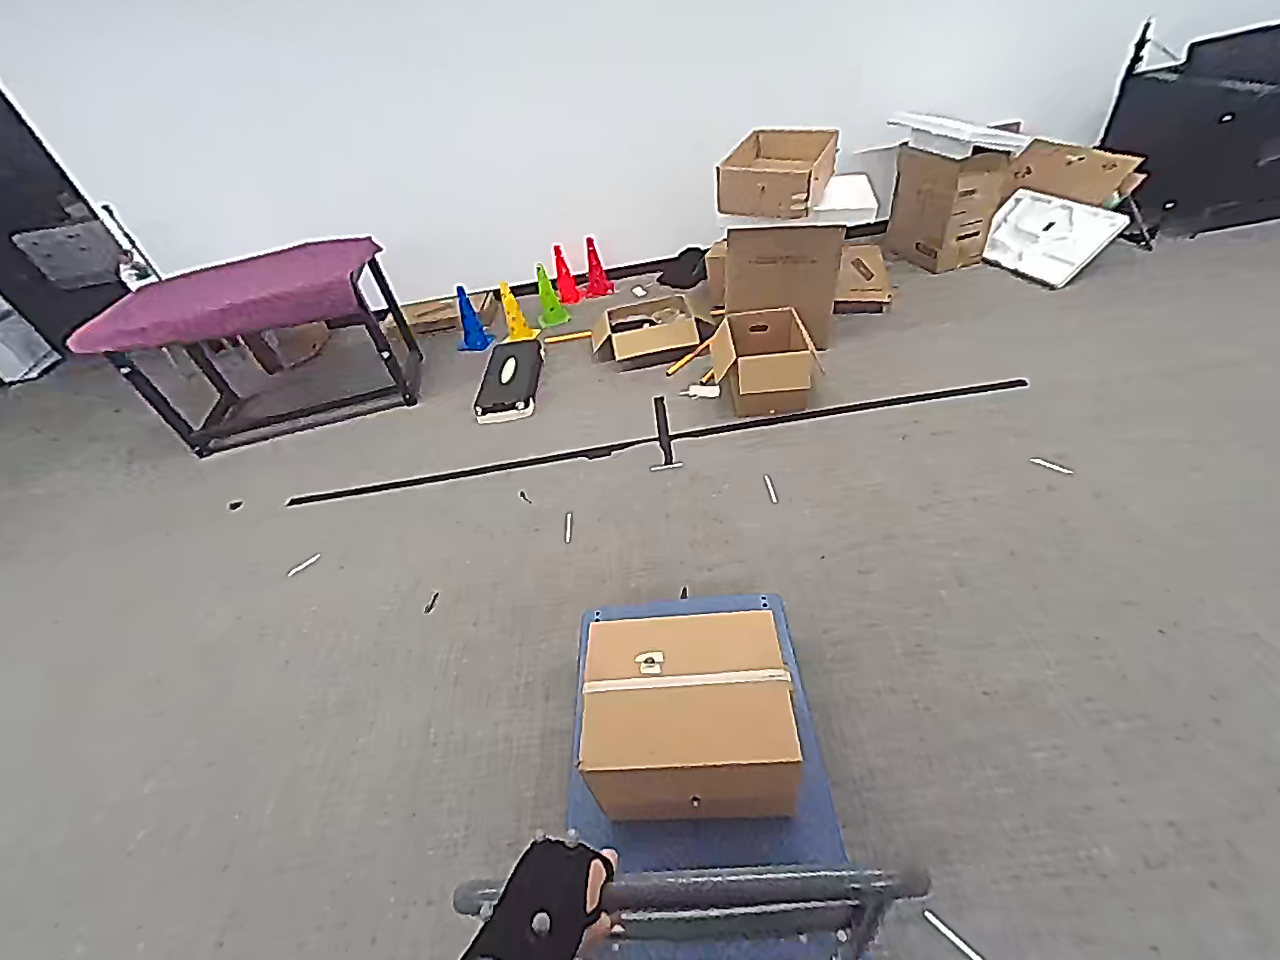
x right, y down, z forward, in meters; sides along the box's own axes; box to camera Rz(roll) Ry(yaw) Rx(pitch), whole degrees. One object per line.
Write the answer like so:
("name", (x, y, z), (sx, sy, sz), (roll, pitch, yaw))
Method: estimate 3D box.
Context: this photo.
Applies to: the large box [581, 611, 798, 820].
("large box", (0.109, 0.522, 1.187), (0.408, 0.320, 0.320), (-7, 41, 6))
